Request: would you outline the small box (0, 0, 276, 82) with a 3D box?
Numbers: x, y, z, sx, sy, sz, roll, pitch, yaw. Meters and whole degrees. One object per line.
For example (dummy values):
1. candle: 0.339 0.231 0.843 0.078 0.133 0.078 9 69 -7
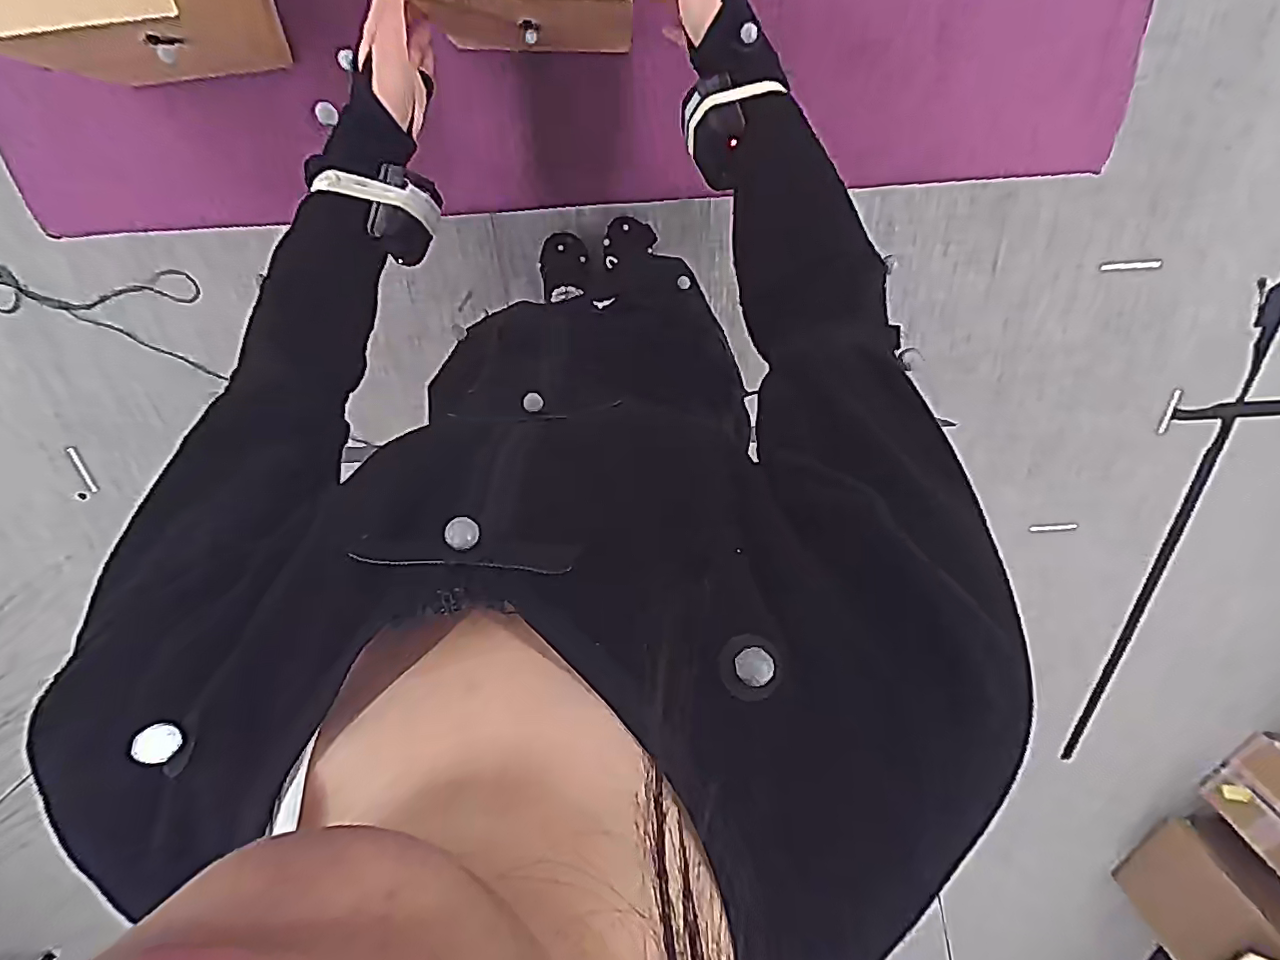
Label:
1. small box: -0.437 -0.445 0.437 0.179 0.176 0.168 -6 116 0
